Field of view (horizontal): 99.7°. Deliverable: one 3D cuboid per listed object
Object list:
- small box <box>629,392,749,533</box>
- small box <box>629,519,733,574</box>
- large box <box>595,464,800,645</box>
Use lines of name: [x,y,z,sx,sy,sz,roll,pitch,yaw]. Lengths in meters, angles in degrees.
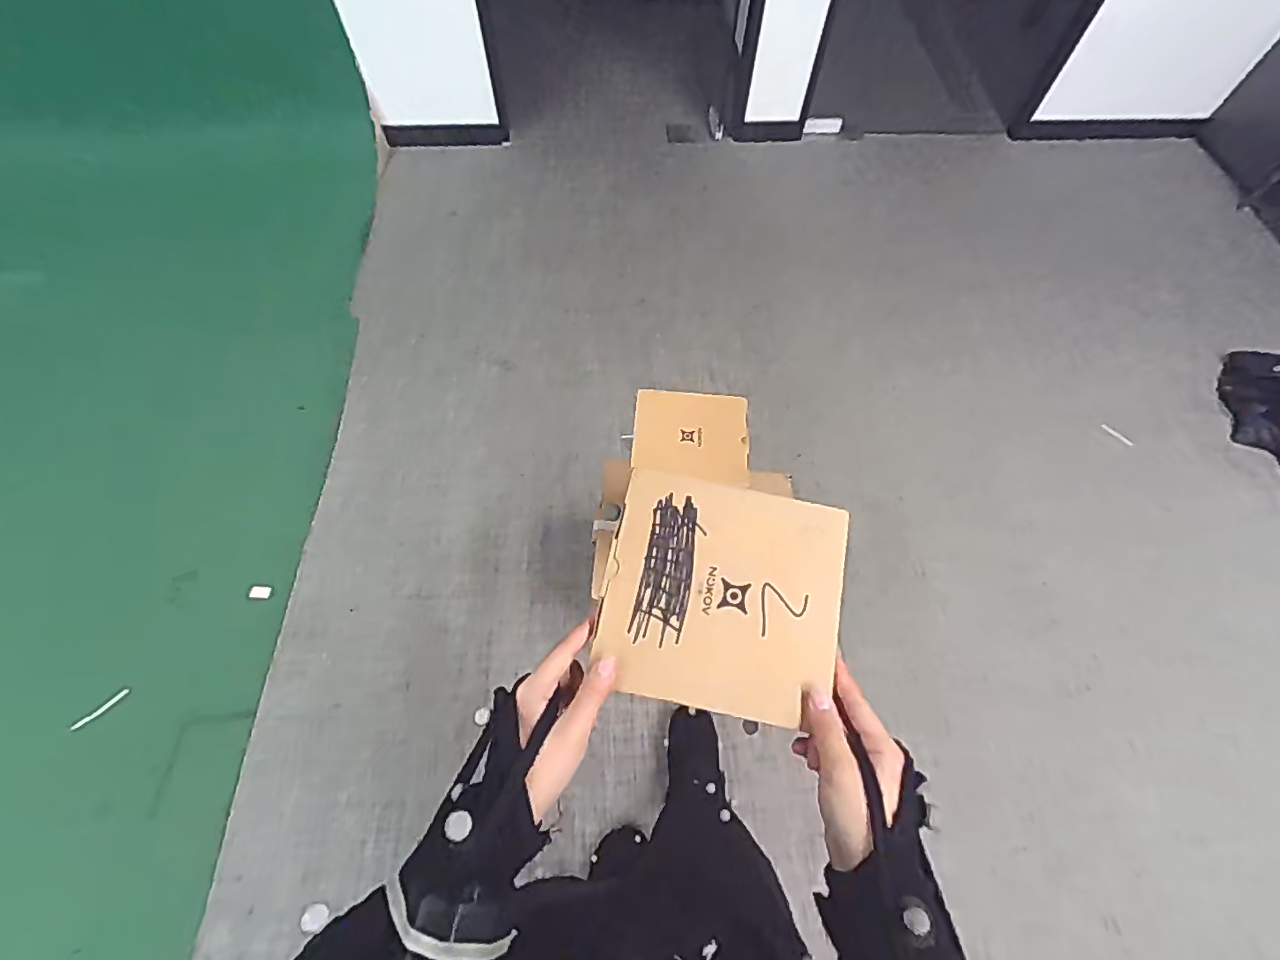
small box: [0.073,-0.023,0.880,0.179,0.176,0.168,4,60,0]
small box: [0.074,0.069,1.015,0.179,0.176,0.168,4,60,2]
large box: [0.109,0.182,1.231,0.408,0.320,0.320,4,62,-1]
